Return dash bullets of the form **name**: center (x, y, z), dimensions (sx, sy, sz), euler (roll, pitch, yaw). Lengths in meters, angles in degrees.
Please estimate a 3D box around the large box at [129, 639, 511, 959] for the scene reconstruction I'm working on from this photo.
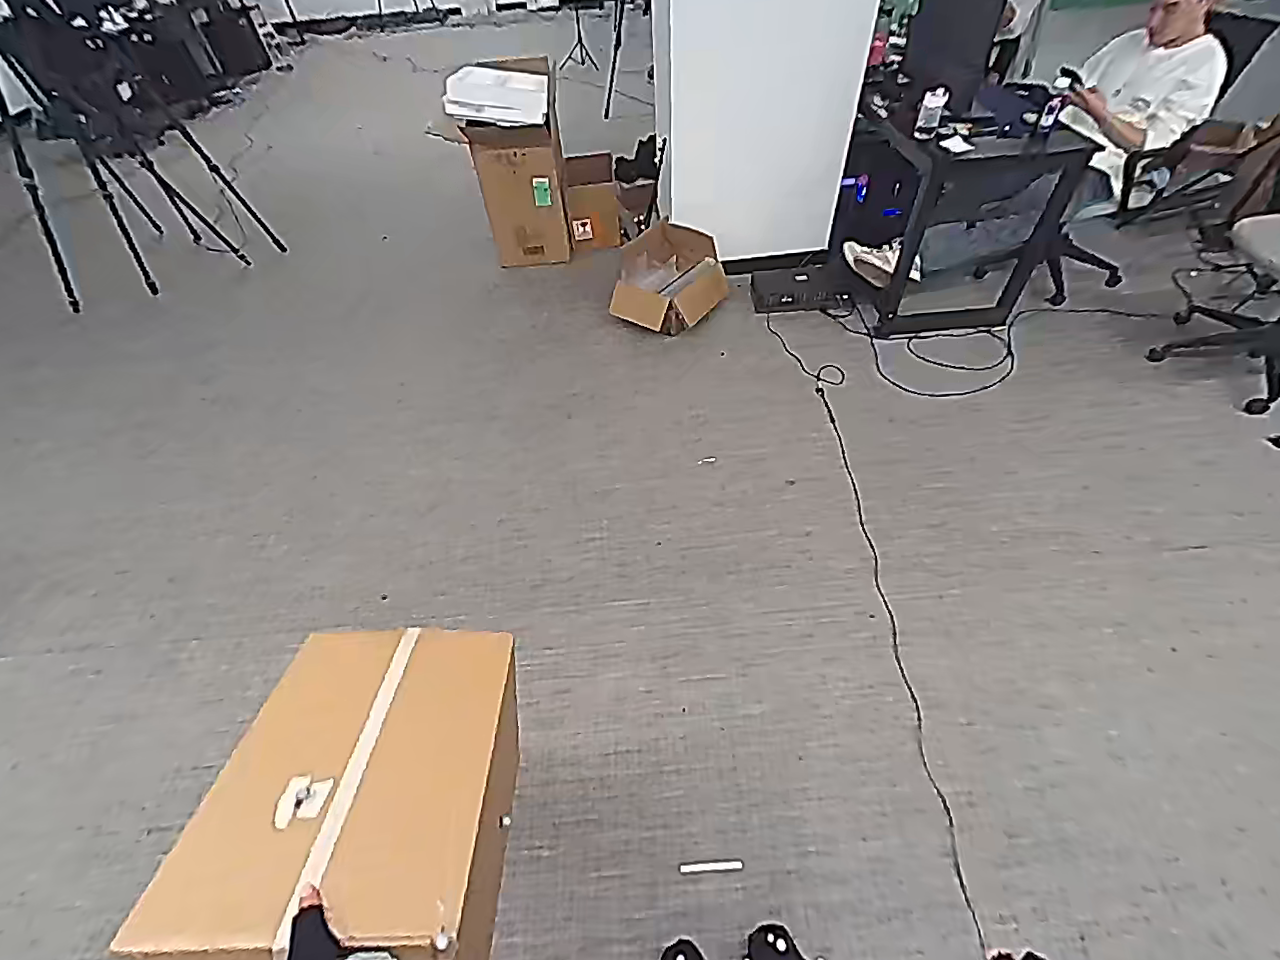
- **large box**: center (-0.361, 0.484, 0.764), dimensions (0.320, 0.320, 0.408), euler (2, 30, -6)
